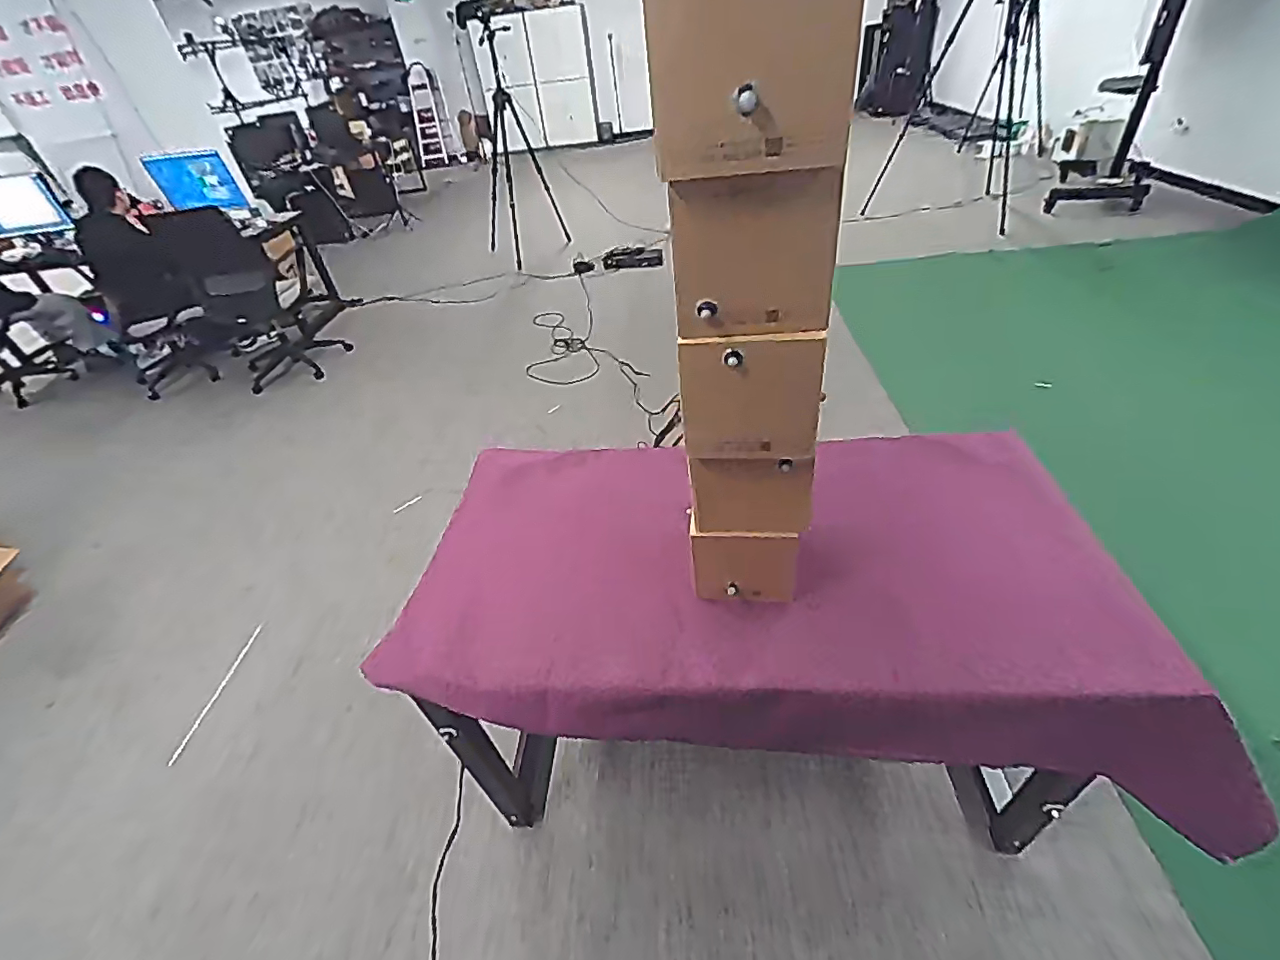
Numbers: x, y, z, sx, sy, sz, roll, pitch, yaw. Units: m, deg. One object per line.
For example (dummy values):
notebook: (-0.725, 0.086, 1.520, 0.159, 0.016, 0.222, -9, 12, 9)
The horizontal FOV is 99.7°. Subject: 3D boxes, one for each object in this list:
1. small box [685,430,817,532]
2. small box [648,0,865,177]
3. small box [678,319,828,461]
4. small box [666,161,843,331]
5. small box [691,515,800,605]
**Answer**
small box: (0.167, -0.034, 0.827, 0.179, 0.176, 0.168, -1, 40, 10)
small box: (0.103, -0.386, 0.486, 0.168, 0.176, 0.179, 2, 41, 13)
small box: (0.145, -0.143, 0.705, 0.168, 0.176, 0.179, 1, 40, 12)
small box: (0.124, -0.278, 0.611, 0.168, 0.176, 0.179, -2, 39, 9)
small box: (0.180, 0.090, 0.929, 0.168, 0.176, 0.179, 0, 41, 11)
